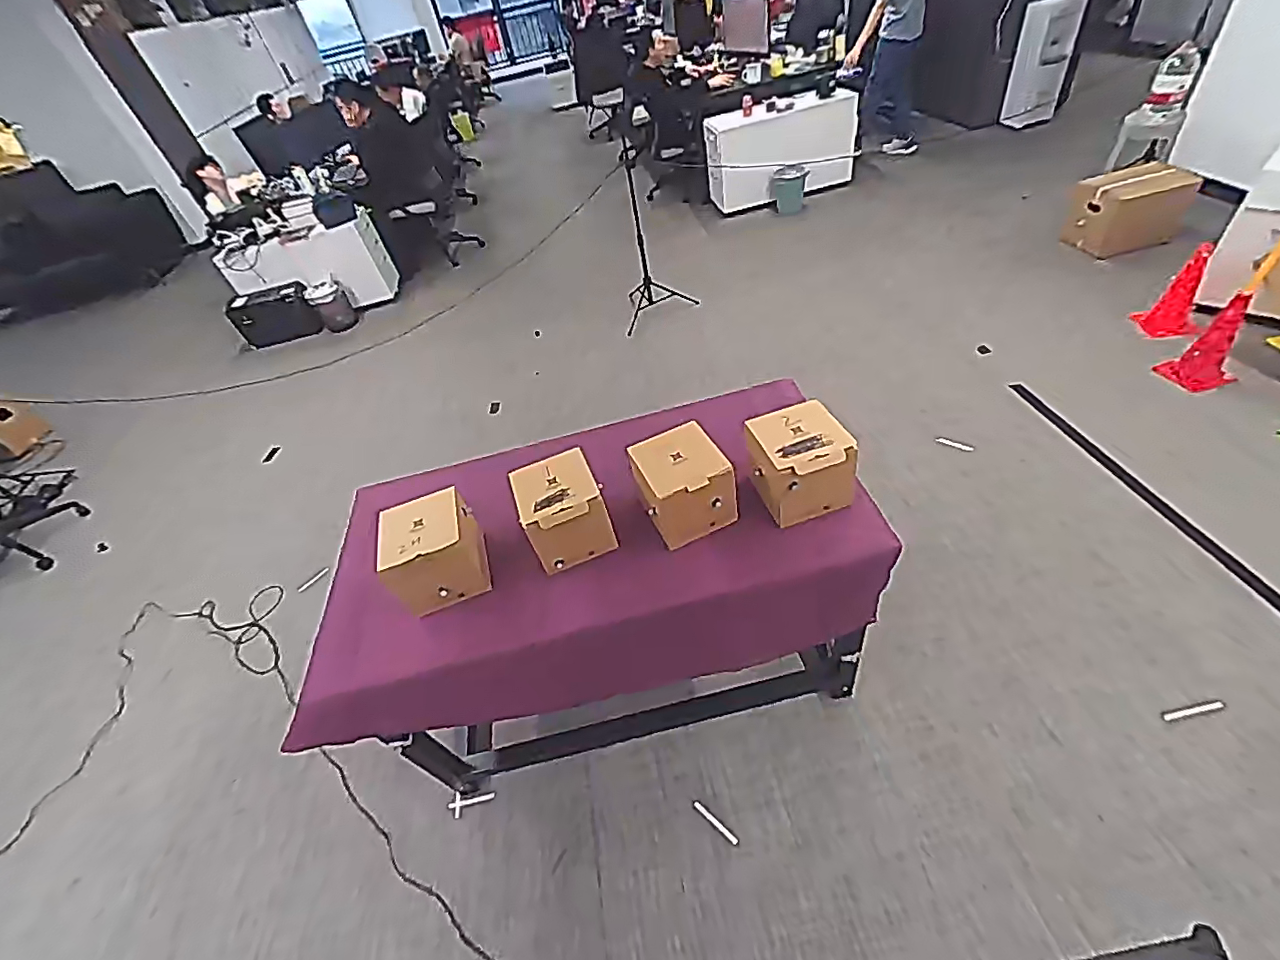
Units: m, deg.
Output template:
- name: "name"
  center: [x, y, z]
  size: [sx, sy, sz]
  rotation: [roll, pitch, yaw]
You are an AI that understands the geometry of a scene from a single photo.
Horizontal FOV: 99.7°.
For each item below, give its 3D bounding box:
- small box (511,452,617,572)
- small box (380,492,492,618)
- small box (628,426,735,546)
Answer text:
- name: "small box"
  center: [-0.162, 0.076, 1.175]
  size: [0.168, 0.176, 0.179]
  rotation: [-22, 43, -7]
- name: "small box"
  center: [-0.432, 0.162, 1.159]
  size: [0.168, 0.176, 0.179]
  rotation: [-21, 44, -6]
- name: "small box"
  center: [0.094, 0.020, 1.166]
  size: [0.168, 0.176, 0.179]
  rotation: [-23, 44, -9]
